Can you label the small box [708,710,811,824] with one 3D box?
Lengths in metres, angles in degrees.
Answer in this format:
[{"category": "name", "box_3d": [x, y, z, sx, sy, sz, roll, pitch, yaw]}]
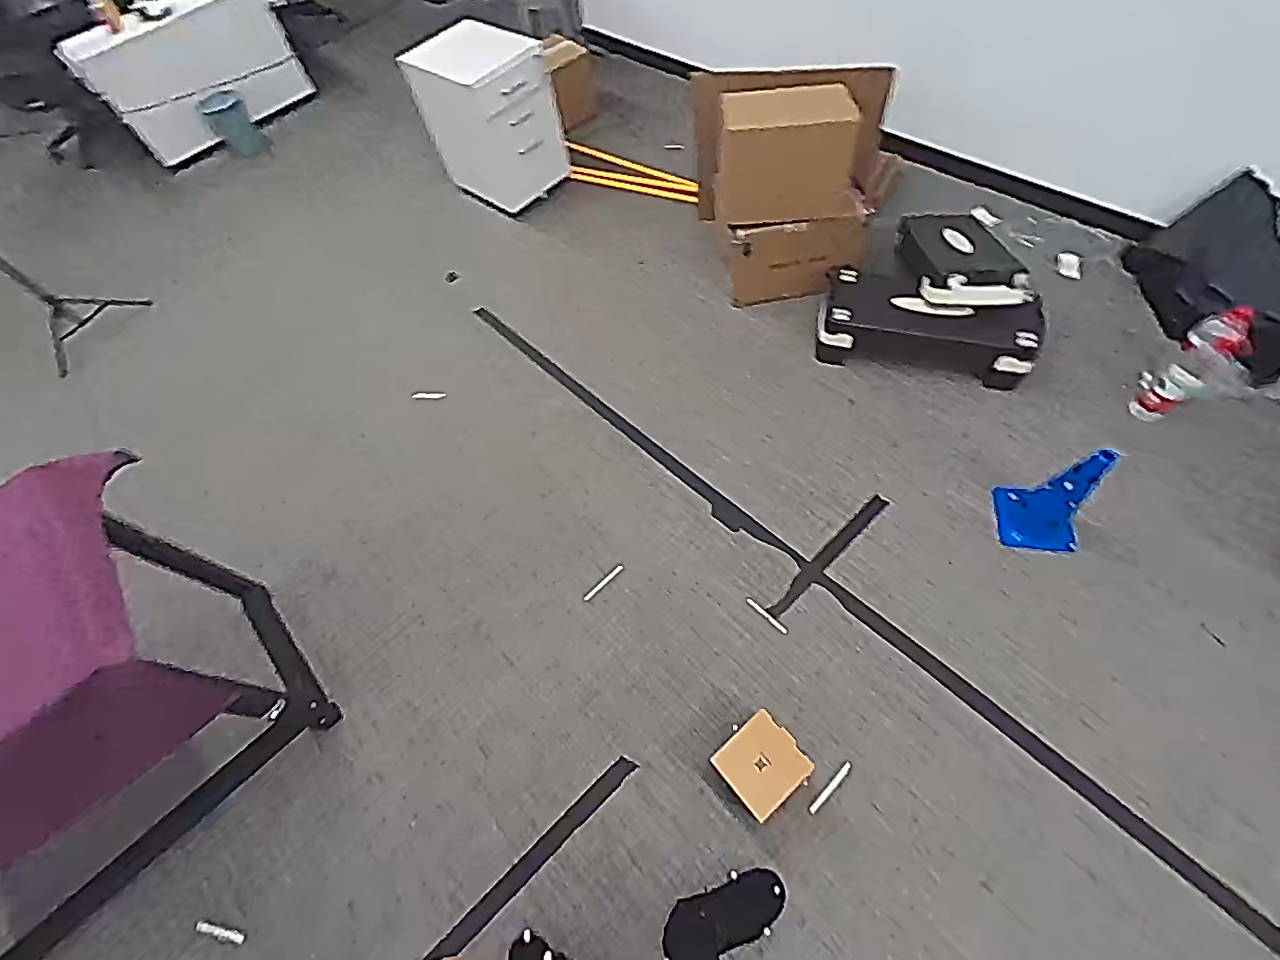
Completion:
[{"category": "small box", "box_3d": [0.283, 0.689, 1.299, 0.179, 0.176, 0.168, -37, 62, -14]}]
